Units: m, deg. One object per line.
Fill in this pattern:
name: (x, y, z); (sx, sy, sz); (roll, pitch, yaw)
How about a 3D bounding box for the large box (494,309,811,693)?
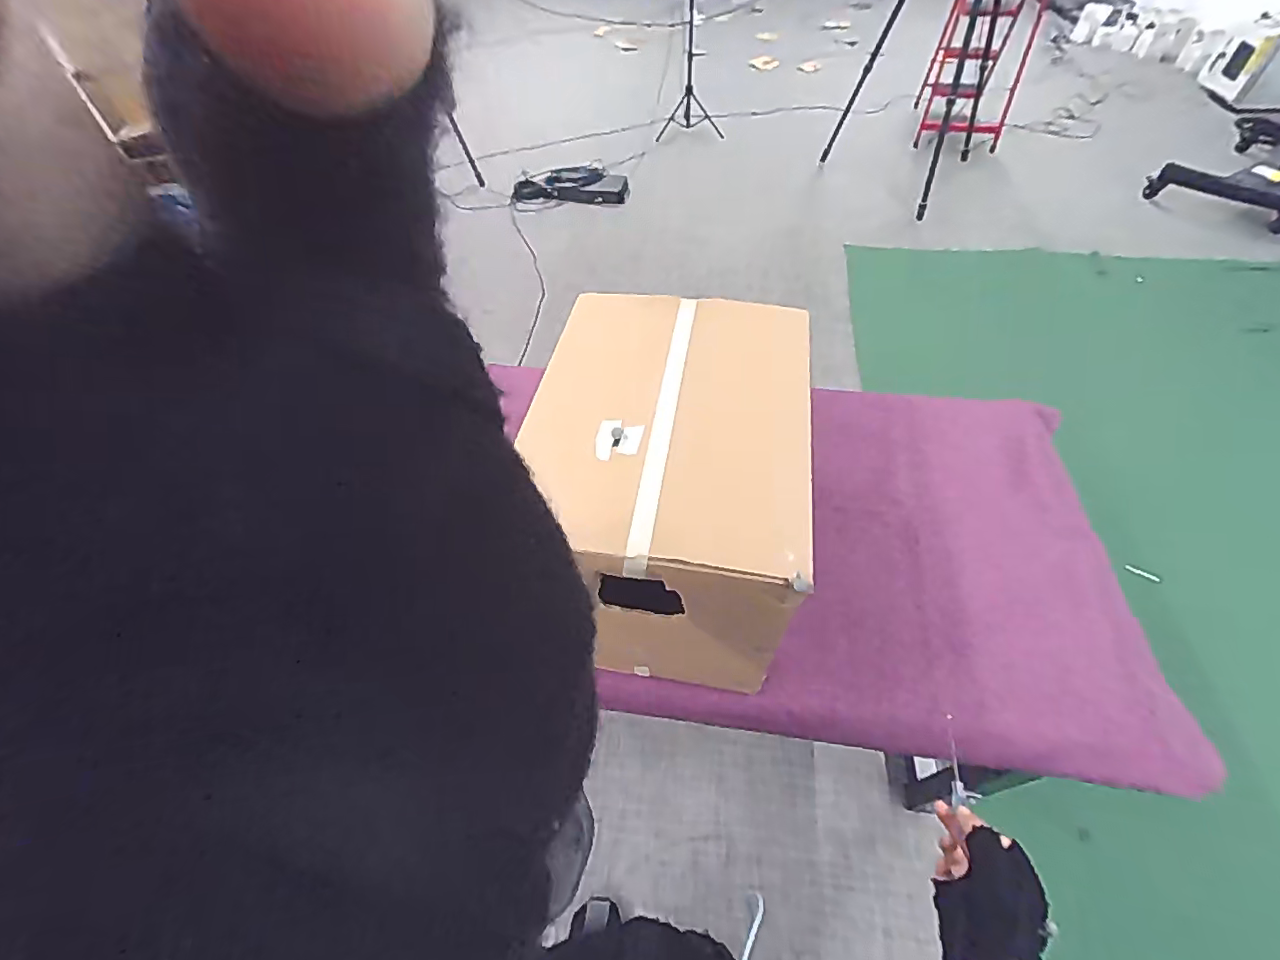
large box: (0.040, 0.023, 0.744); (0.320, 0.320, 0.408); (7, 53, 8)
